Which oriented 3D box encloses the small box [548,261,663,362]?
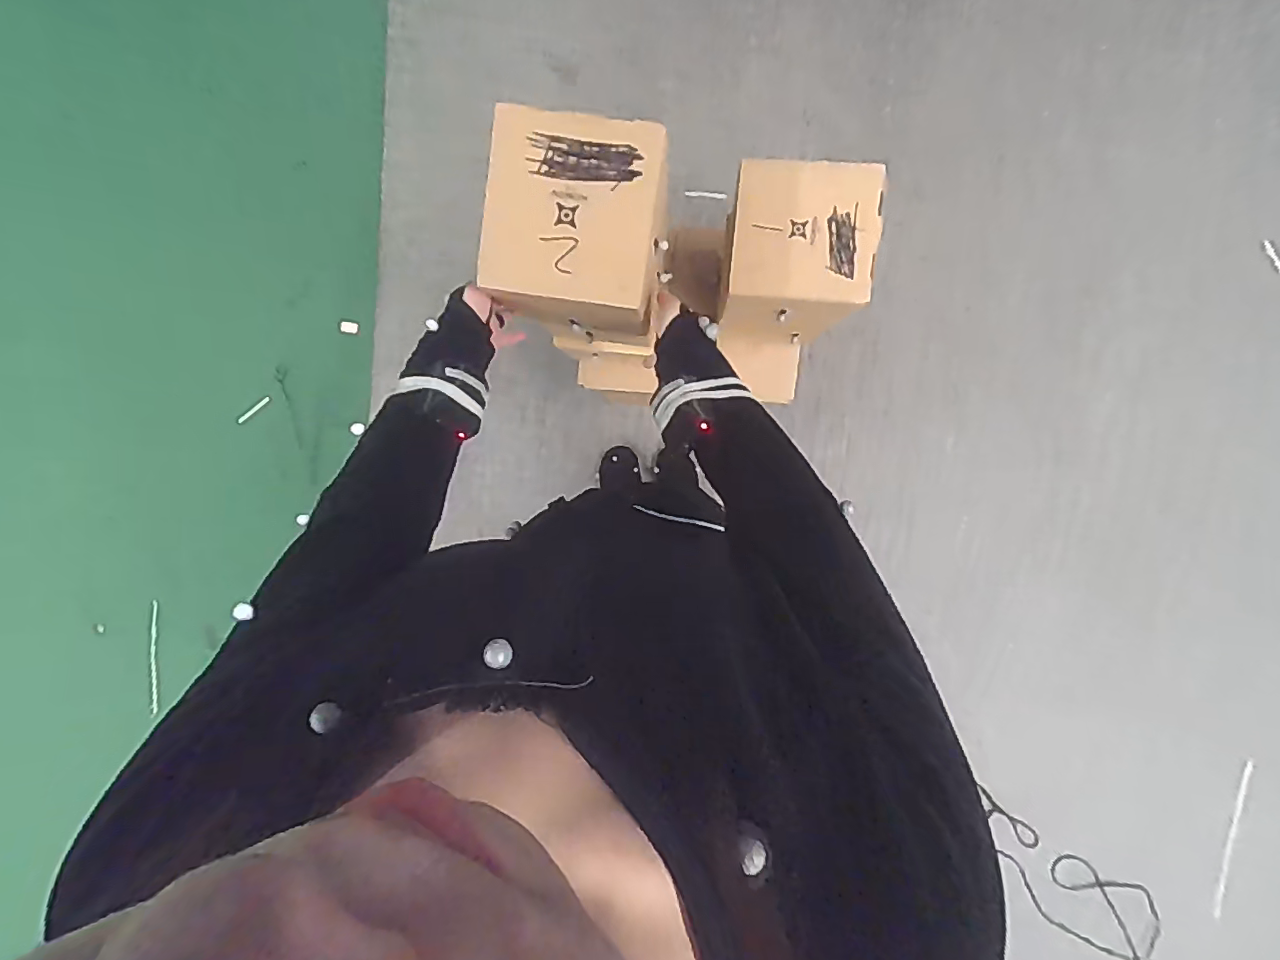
[{"bbox_3d":[-0.052,-0.303,0.929,0.168,0.176,0.179,7,97,2],"label":"small box"}]

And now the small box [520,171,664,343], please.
[{"bbox_3d":[-0.059,-0.299,0.764,0.168,0.176,0.179,9,97,1],"label":"small box"}]

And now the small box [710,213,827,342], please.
[{"bbox_3d":[0.216,-0.330,0.910,0.179,0.176,0.168,5,96,5],"label":"small box"}]

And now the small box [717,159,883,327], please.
[{"bbox_3d":[0.206,-0.313,0.747,0.179,0.176,0.168,7,96,5],"label":"small box"}]
